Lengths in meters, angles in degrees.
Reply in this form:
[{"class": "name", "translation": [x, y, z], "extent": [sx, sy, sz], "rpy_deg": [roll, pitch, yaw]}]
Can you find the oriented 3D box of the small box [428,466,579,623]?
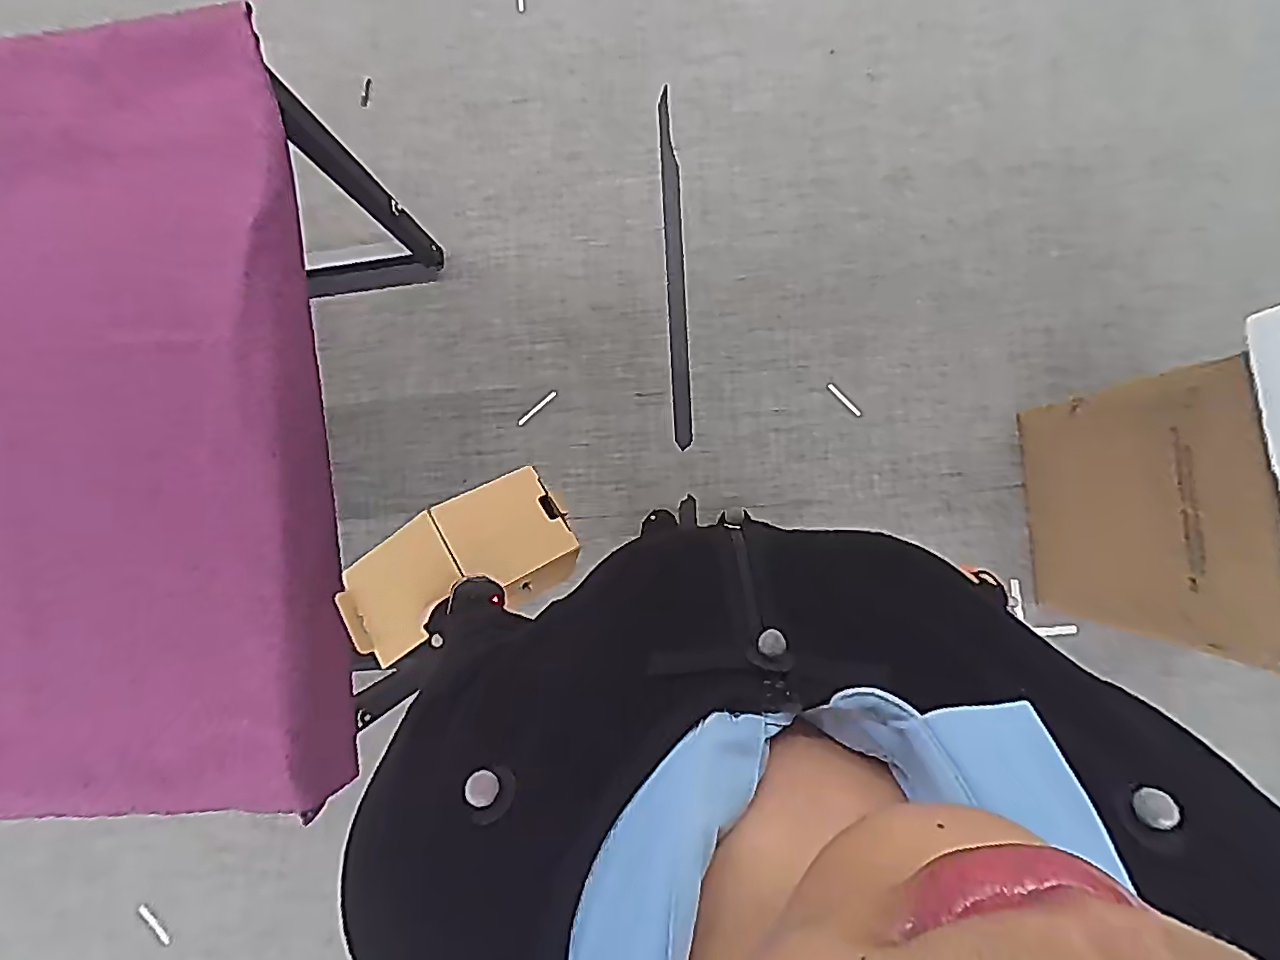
[{"class": "small box", "translation": [-0.220, 0.111, 0.881], "extent": [0.179, 0.176, 0.168], "rpy_deg": [-26, 72, -25]}]
